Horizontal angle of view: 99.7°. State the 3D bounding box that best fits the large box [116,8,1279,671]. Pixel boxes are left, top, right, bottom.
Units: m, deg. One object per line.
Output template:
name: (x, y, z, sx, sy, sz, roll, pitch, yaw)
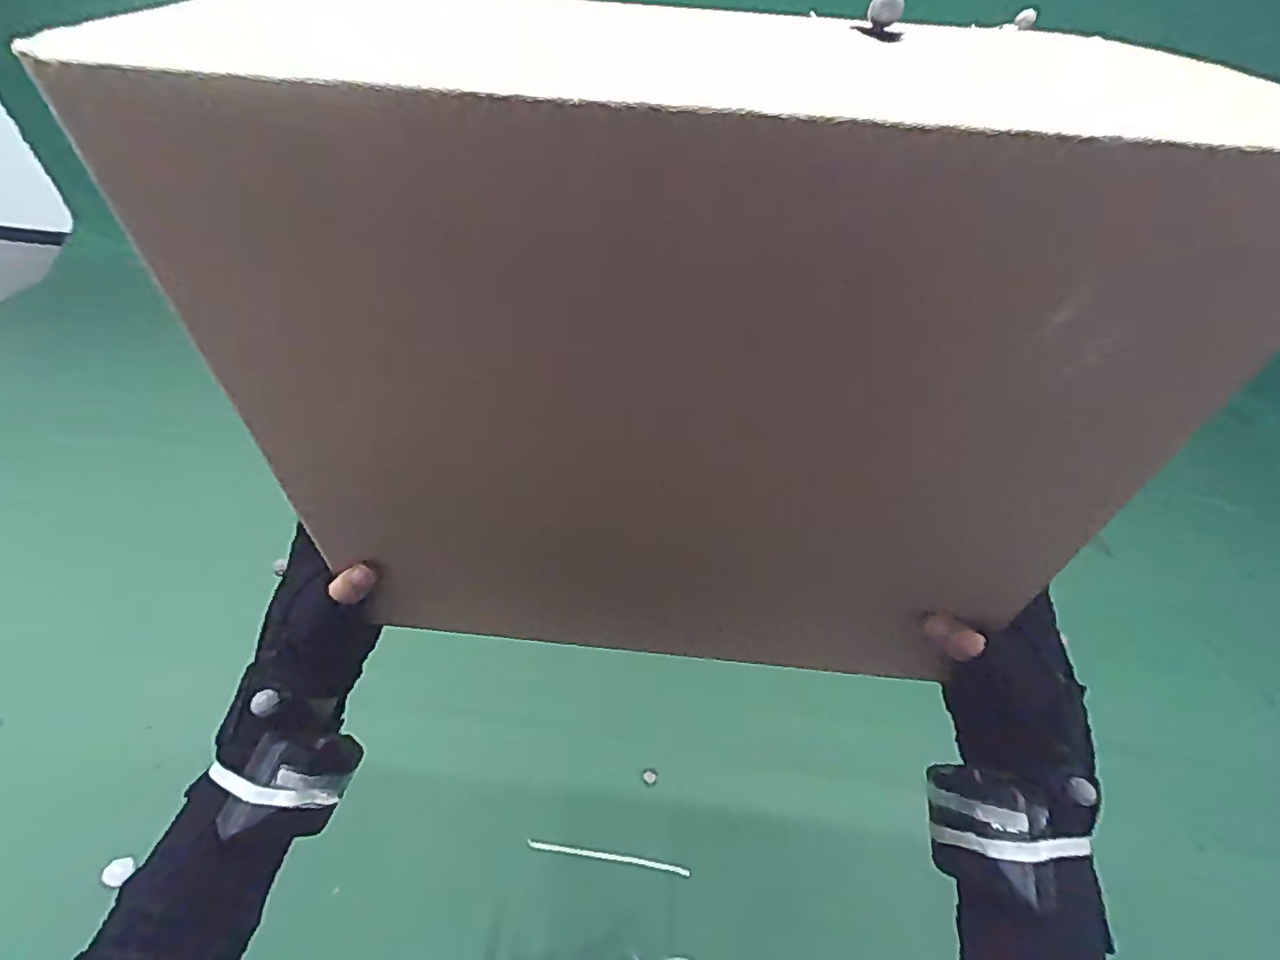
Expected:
large box: (0.035, -0.096, 0.372, 0.408, 0.320, 0.320, 6, 45, 0)
